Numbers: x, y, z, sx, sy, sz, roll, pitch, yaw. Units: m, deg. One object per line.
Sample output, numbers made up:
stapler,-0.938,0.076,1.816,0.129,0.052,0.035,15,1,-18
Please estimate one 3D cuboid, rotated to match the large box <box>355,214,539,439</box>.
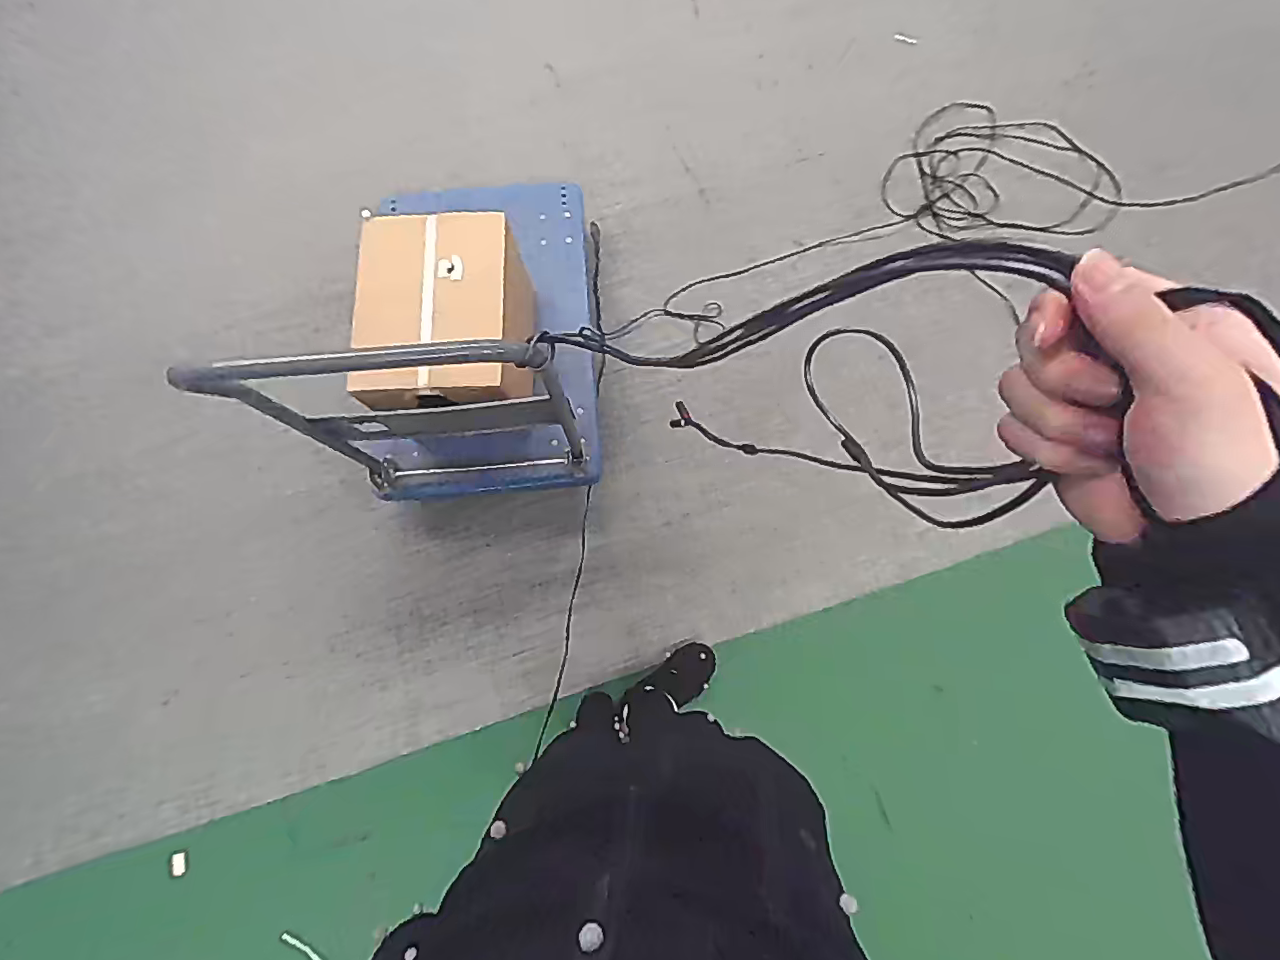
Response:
large box,-0.421,-0.335,1.256,0.320,0.320,0.408,-3,77,0
